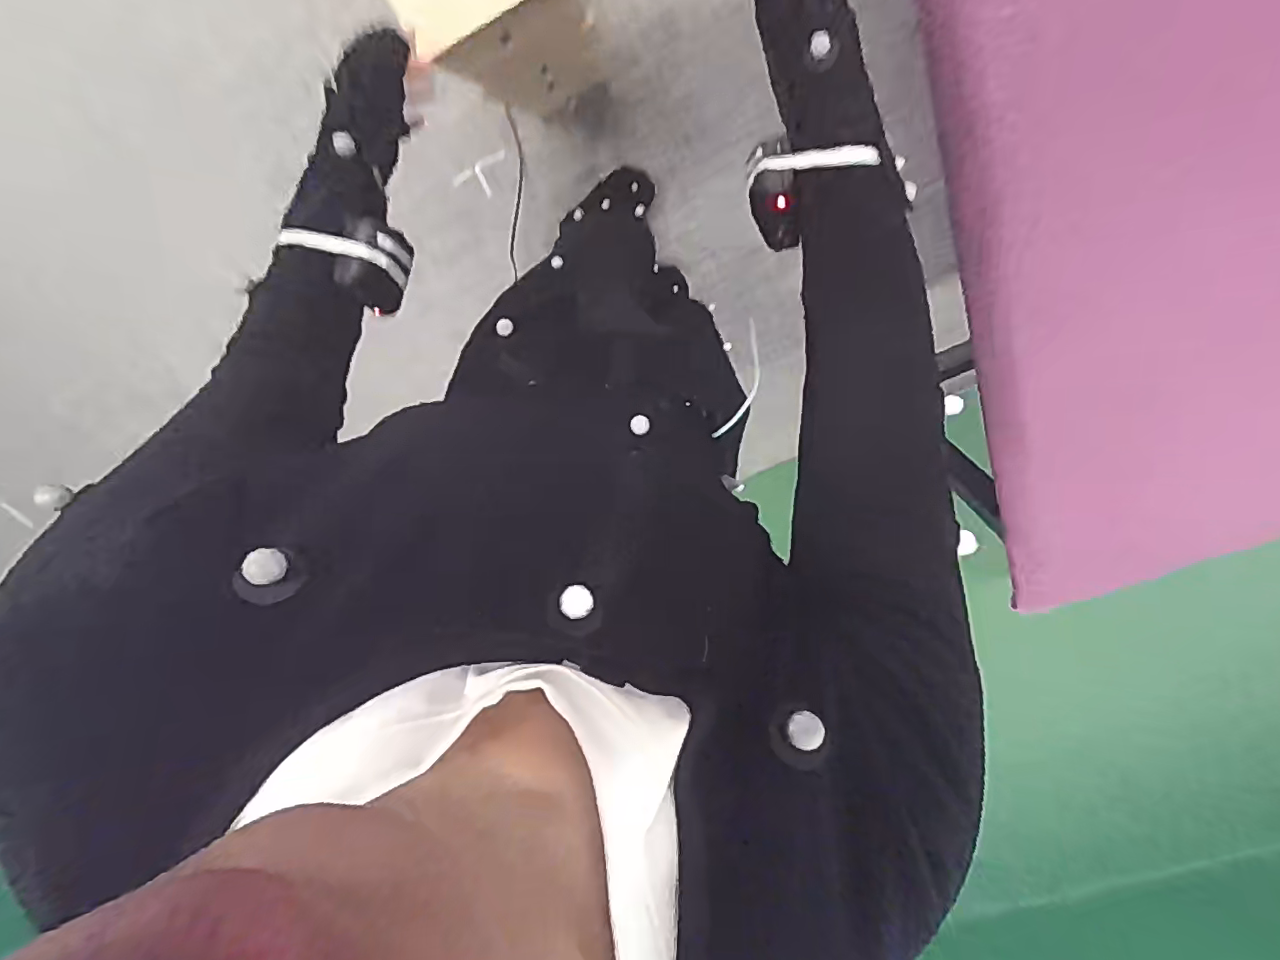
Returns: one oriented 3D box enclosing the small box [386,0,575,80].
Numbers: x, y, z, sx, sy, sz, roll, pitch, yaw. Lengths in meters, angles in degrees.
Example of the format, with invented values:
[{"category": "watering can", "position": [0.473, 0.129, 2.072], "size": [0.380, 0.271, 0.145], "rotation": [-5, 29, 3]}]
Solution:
[{"category": "small box", "position": [-0.180, -0.563, 0.575], "size": [0.179, 0.176, 0.168], "rotation": [-20, 119, 13]}]
